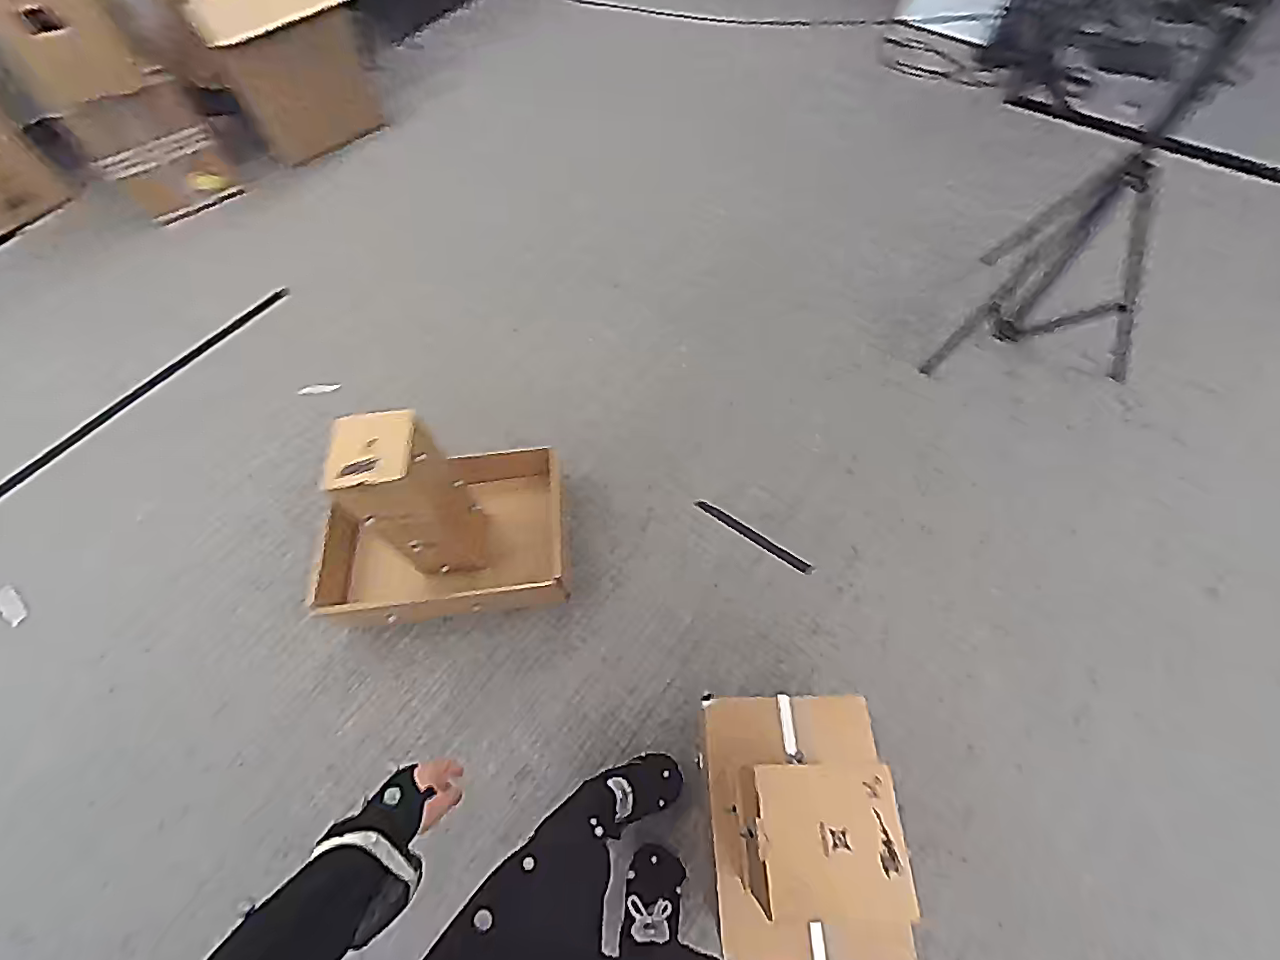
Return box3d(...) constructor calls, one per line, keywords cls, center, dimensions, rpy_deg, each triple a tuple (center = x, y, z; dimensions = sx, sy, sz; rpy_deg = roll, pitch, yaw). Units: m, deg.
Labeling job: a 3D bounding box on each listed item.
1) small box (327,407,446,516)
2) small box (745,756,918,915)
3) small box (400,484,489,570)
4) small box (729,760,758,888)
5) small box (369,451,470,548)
box3d(cls="small box", center=(-0.531, -0.032, 1.162), dimensions=(0.168, 0.176, 0.179), rpy_deg=(-6, 60, 1))
box3d(cls="small box", center=(0.240, 0.470, 0.735), dimensions=(0.179, 0.176, 0.168), rpy_deg=(-2, 62, 3))
box3d(cls="small box", center=(-0.512, 0.129, 1.446), dimensions=(0.168, 0.176, 0.179), rpy_deg=(-4, 62, 2))
box3d(cls="small box", center=(0.241, 0.550, 0.879), dimensions=(0.179, 0.176, 0.168), rpy_deg=(-2, 62, 2))
box3d(cls="small box", center=(-0.520, 0.050, 1.304), dimensions=(0.168, 0.176, 0.179), rpy_deg=(-5, 62, 2))
